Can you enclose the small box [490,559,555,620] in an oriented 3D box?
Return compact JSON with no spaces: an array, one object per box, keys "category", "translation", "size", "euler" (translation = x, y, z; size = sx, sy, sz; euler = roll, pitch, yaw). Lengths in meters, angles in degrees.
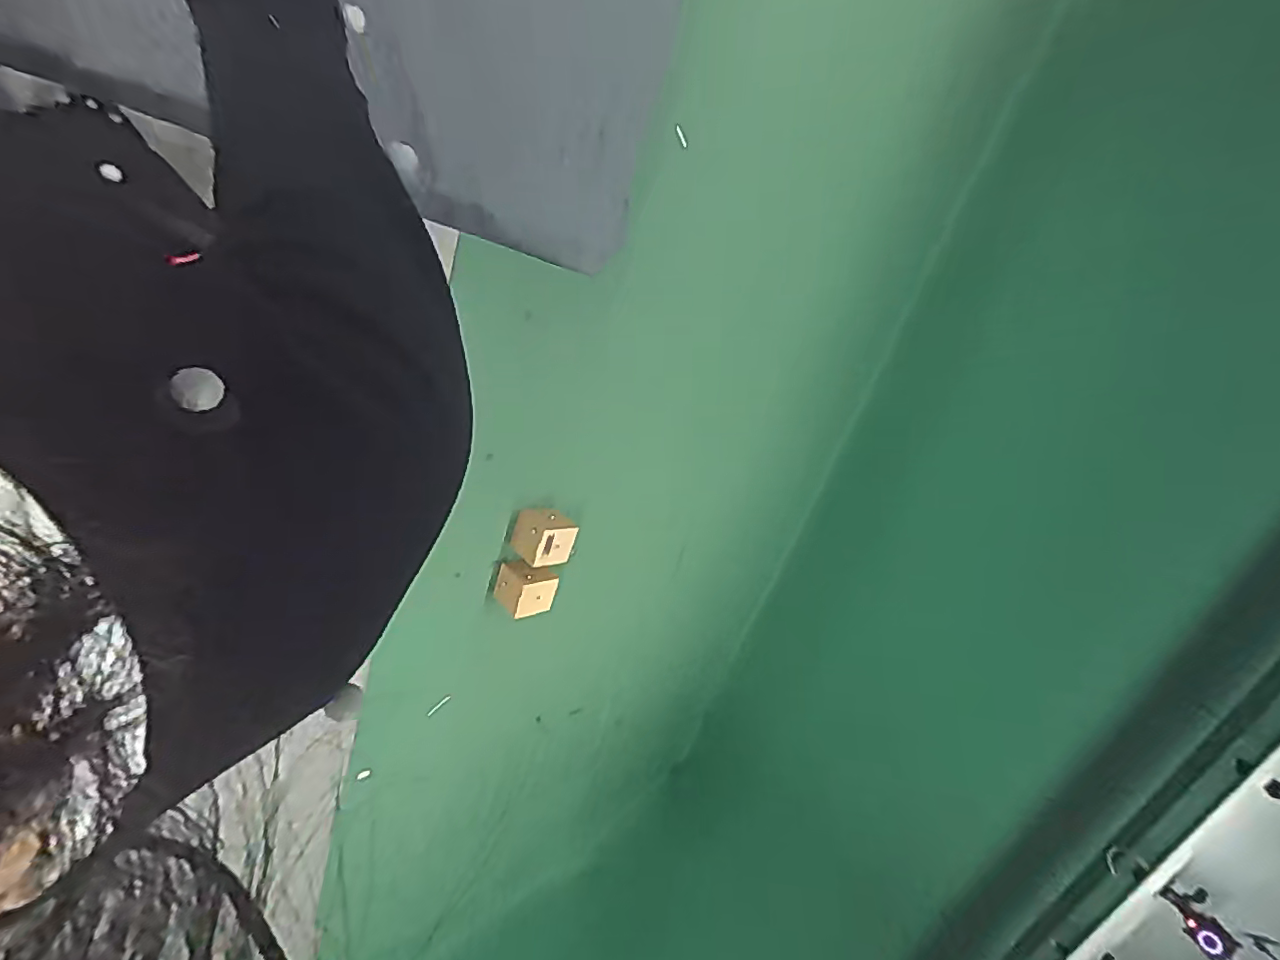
[{"category":"small box","translation":[-0.483,0.441,2.217],"size":[0.179,0.176,0.168],"euler":[-3,120,-47]}]
